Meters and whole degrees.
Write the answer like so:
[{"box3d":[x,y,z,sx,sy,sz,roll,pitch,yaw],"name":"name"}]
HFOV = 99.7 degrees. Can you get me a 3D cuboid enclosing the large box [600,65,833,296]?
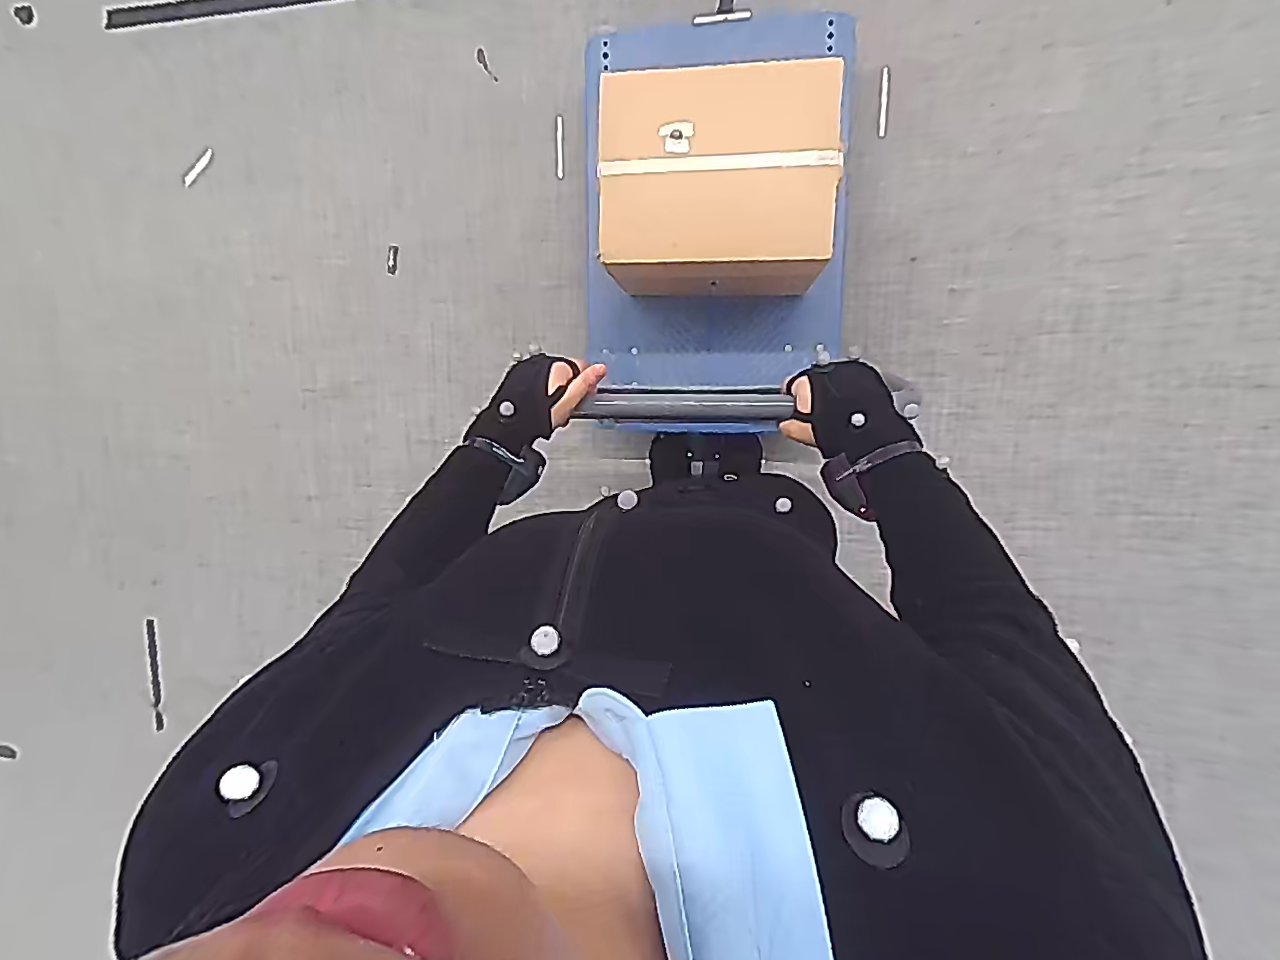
[{"box3d":[0.151,-0.560,1.088,0.408,0.320,0.320,2,97,9],"name":"large box"}]
